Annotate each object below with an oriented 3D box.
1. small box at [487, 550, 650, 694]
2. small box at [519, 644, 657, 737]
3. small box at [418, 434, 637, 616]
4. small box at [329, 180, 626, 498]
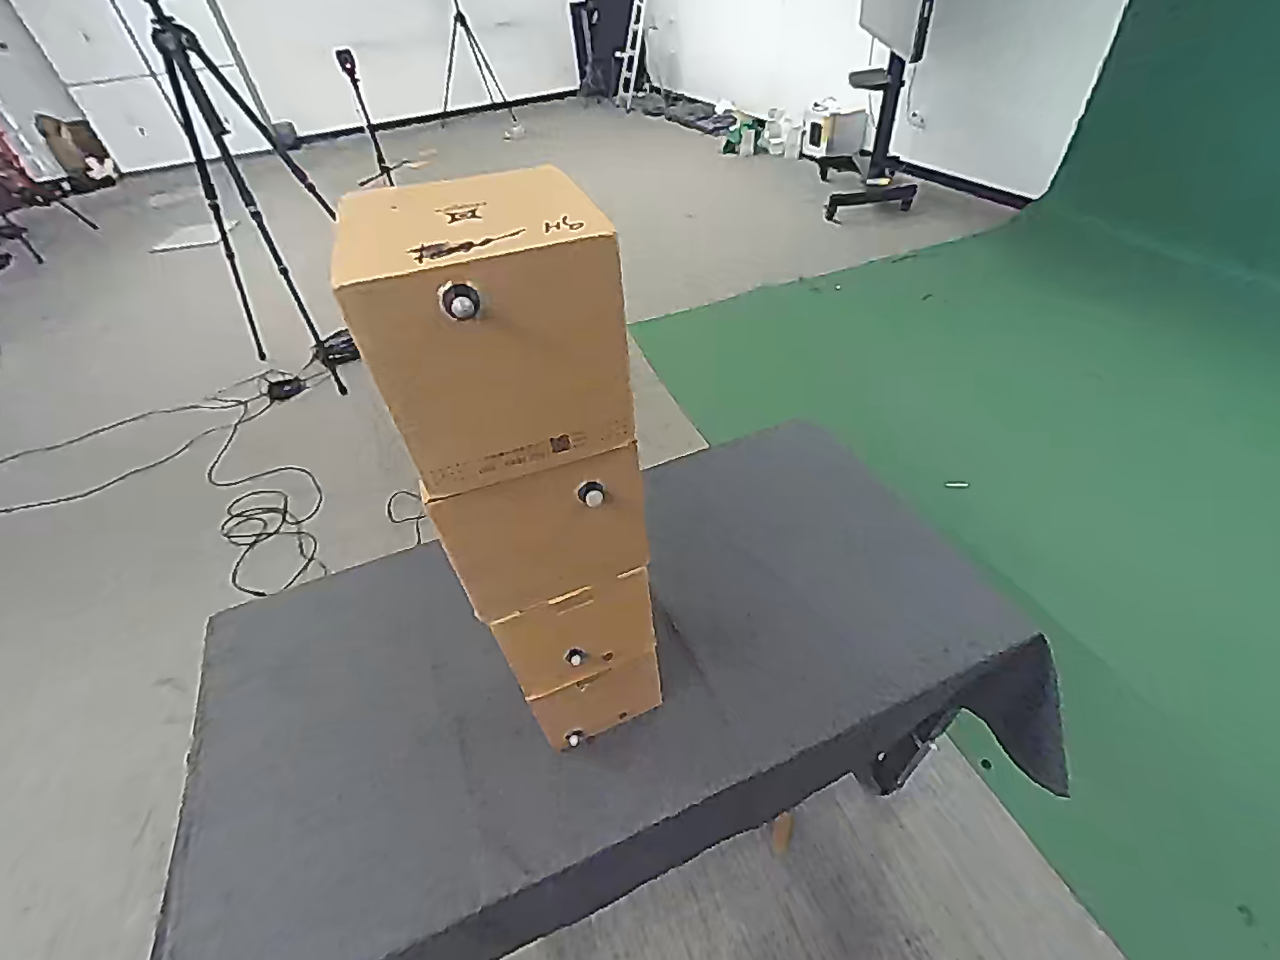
[{"bbox_3d":[-0.097,0.121,0.656,0.168,0.176,0.179,-19,45,-13],"label":"small box"},{"bbox_3d":[-0.083,0.237,0.768,0.168,0.176,0.179,-20,44,-13],"label":"small box"},{"bbox_3d":[-0.108,0.004,0.541,0.179,0.176,0.168,-18,45,-12],"label":"small box"},{"bbox_3d":[-0.117,-0.115,0.429,0.168,0.176,0.179,-17,45,-11],"label":"small box"}]
